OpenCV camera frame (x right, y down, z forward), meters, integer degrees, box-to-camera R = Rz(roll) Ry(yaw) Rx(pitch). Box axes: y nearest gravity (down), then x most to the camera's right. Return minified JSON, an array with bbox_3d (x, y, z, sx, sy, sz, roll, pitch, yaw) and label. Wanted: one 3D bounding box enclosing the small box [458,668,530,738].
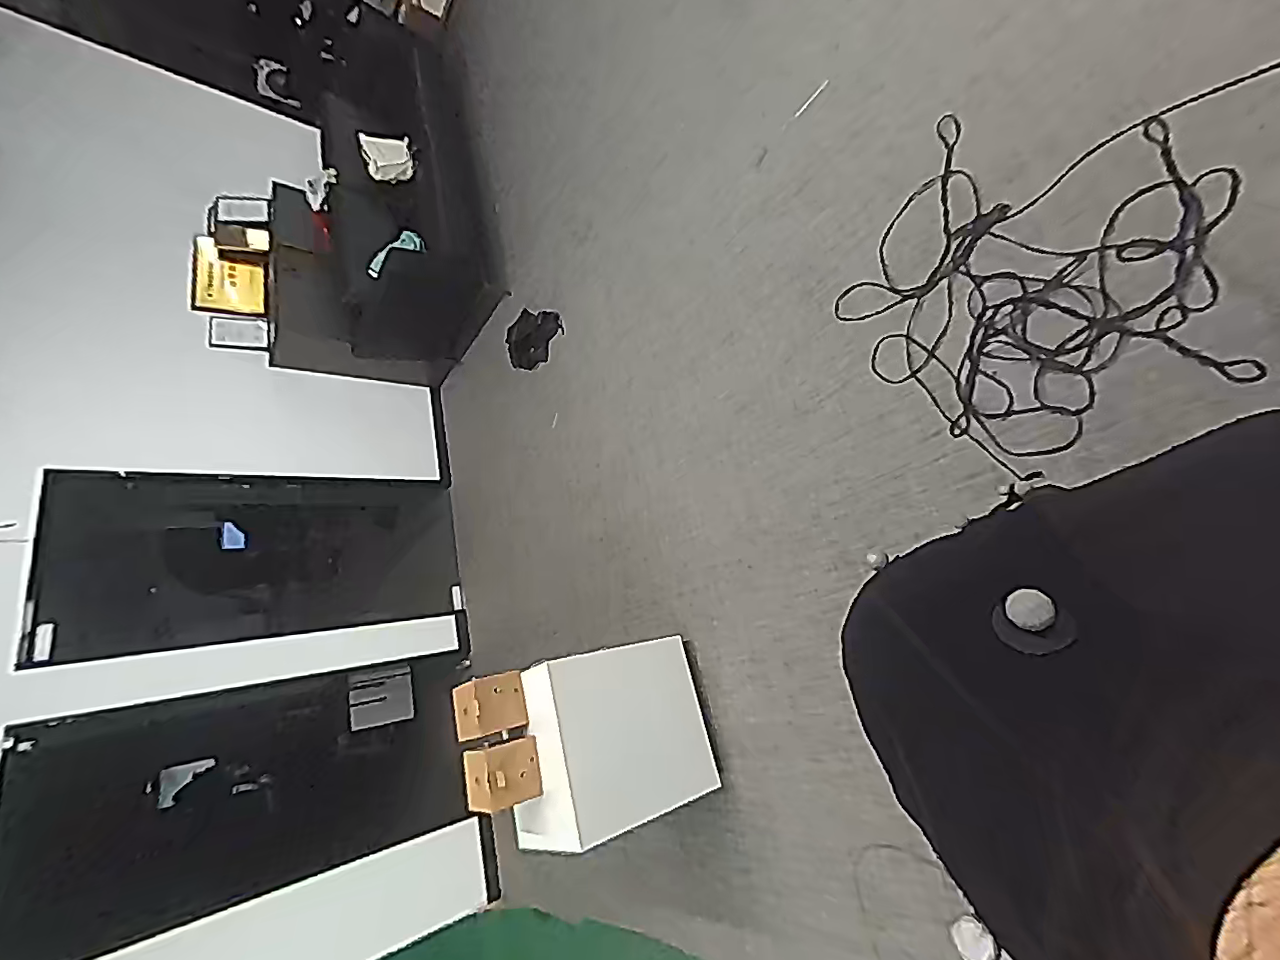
[{"bbox_3d":[-0.466,0.717,1.741,0.179,0.176,0.168,-37,60,44],"label":"small box"}]
